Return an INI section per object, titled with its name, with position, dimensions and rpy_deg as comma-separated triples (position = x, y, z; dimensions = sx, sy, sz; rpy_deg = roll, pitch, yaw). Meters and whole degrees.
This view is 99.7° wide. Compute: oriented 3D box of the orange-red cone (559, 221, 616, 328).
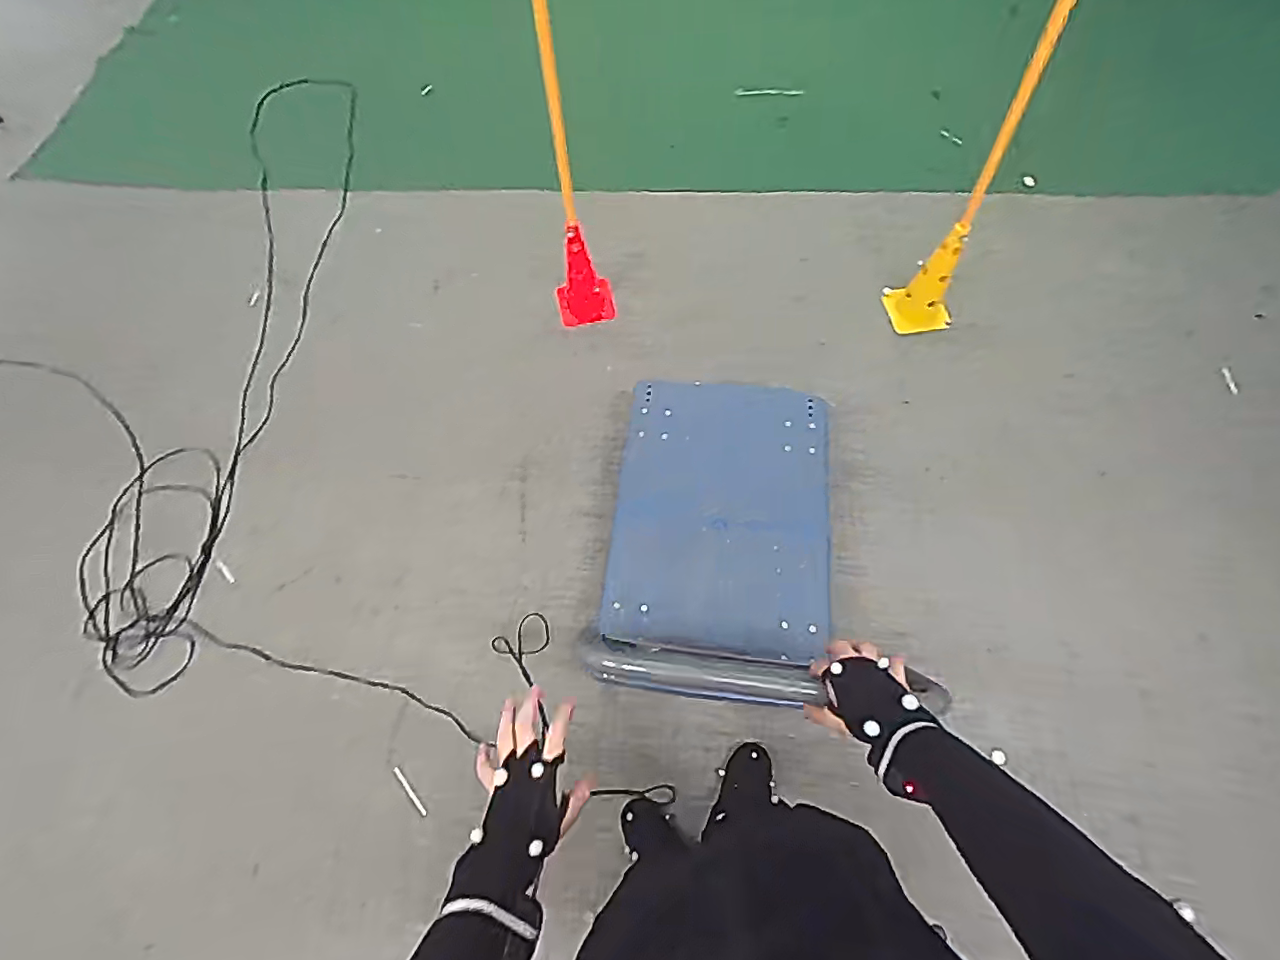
[orange-red cone]
position = -0.208, -0.722, 1.846
dimensions = 0.199, 0.360, 0.198
rpy_deg = -12, 65, -1
